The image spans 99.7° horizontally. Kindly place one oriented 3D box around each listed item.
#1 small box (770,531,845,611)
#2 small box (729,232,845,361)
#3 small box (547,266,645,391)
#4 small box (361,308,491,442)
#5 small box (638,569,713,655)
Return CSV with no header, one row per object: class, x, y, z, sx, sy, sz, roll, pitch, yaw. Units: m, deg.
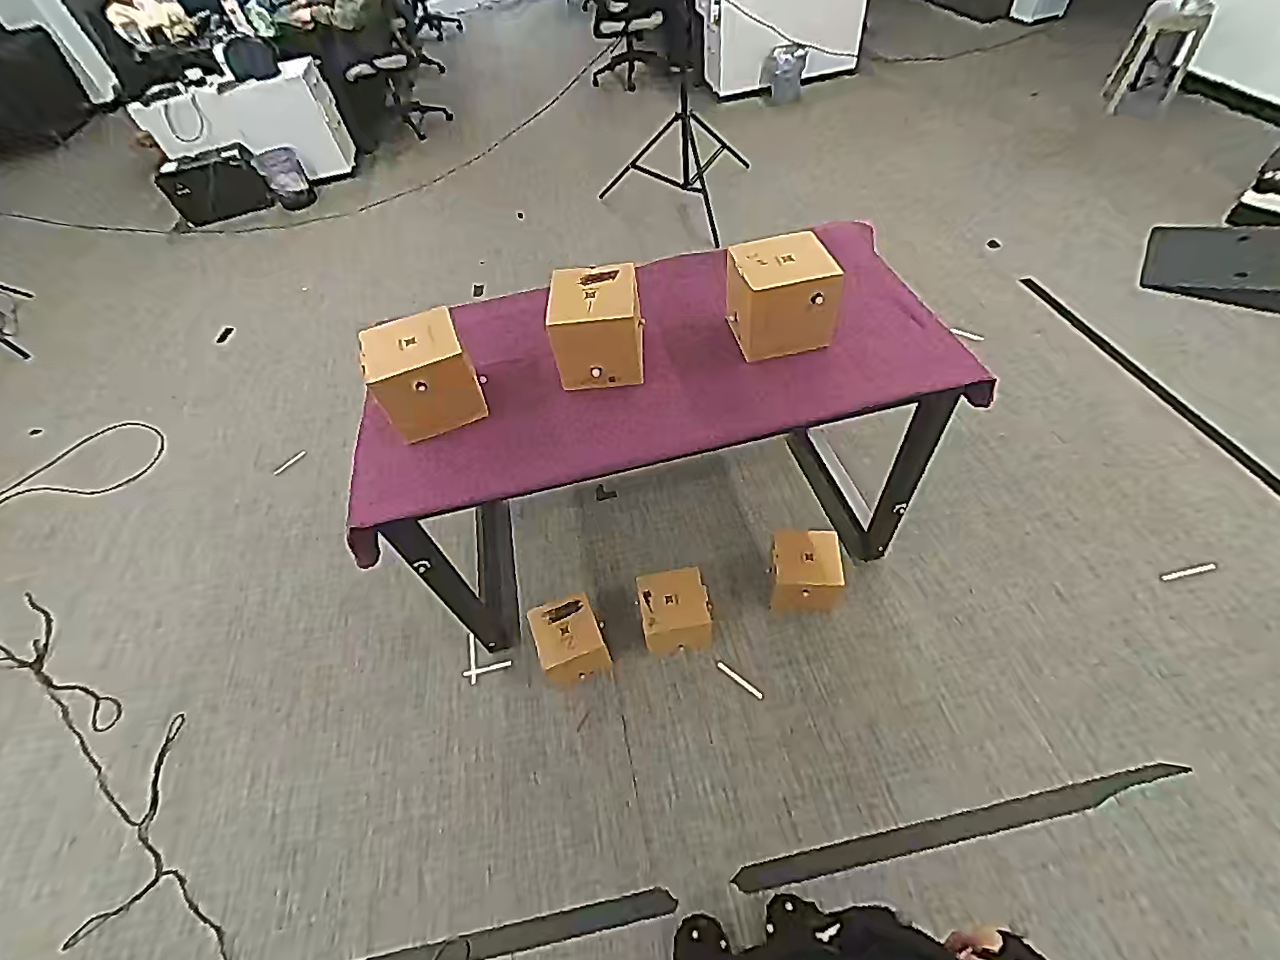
small box,0.461,0.257,1.513,0.179,0.176,0.168,-1,54,9
small box,0.284,-0.365,1.088,0.179,0.176,0.168,-12,51,-1
small box,-0.081,-0.303,1.093,0.168,0.176,0.179,-4,53,5
small box,-0.416,-0.202,1.063,0.179,0.176,0.168,-22,54,-10
small box,0.097,0.364,1.482,0.179,0.176,0.168,-10,52,0
